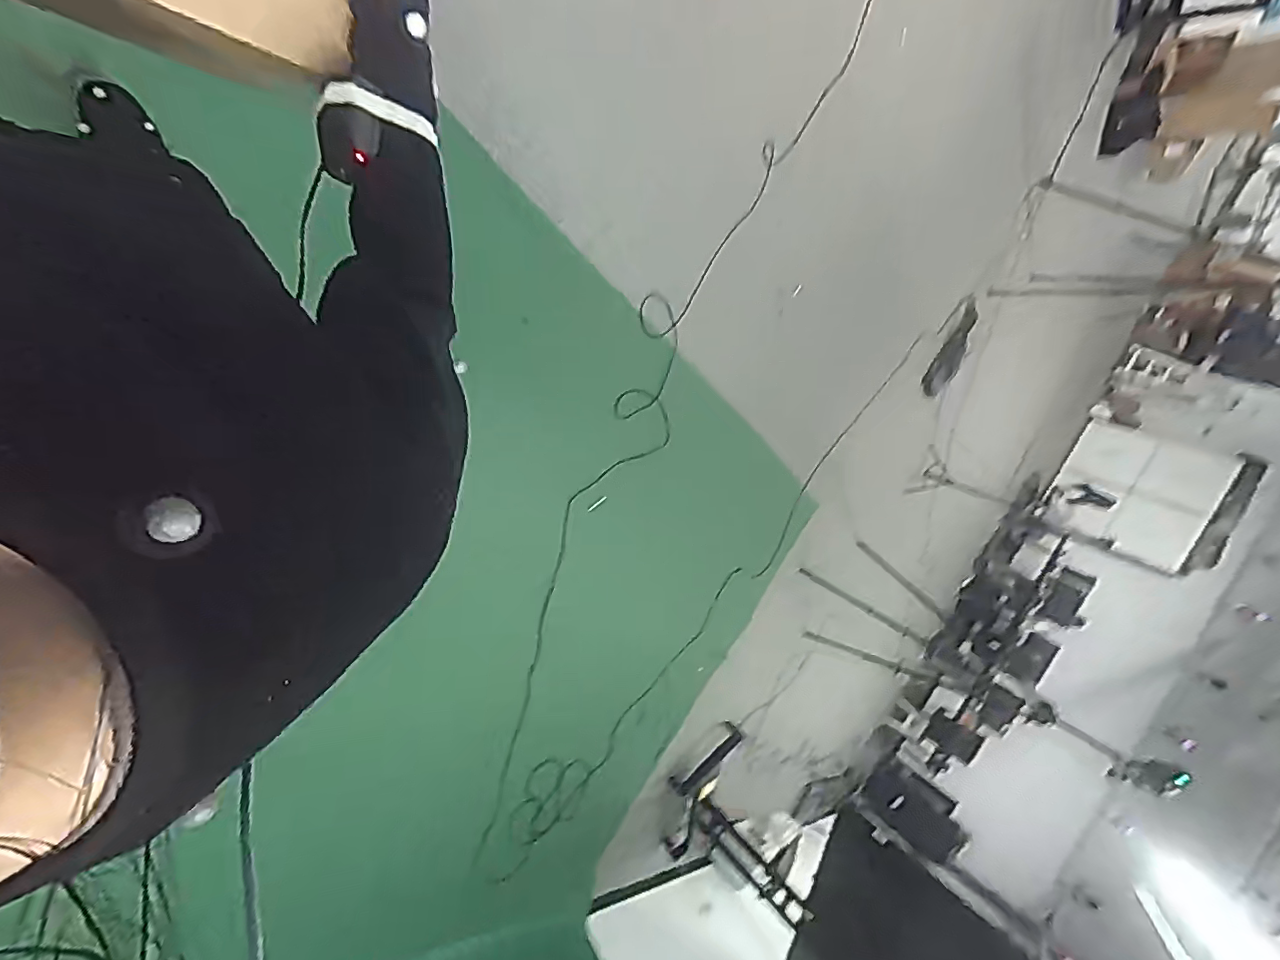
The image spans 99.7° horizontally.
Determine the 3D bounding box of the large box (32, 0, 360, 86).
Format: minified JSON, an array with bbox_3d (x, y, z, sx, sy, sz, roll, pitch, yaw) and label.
[{"bbox_3d":[-0.444,-0.527,0.368,0.408,0.320,0.320,-4,117,-47],"label":"large box"}]
